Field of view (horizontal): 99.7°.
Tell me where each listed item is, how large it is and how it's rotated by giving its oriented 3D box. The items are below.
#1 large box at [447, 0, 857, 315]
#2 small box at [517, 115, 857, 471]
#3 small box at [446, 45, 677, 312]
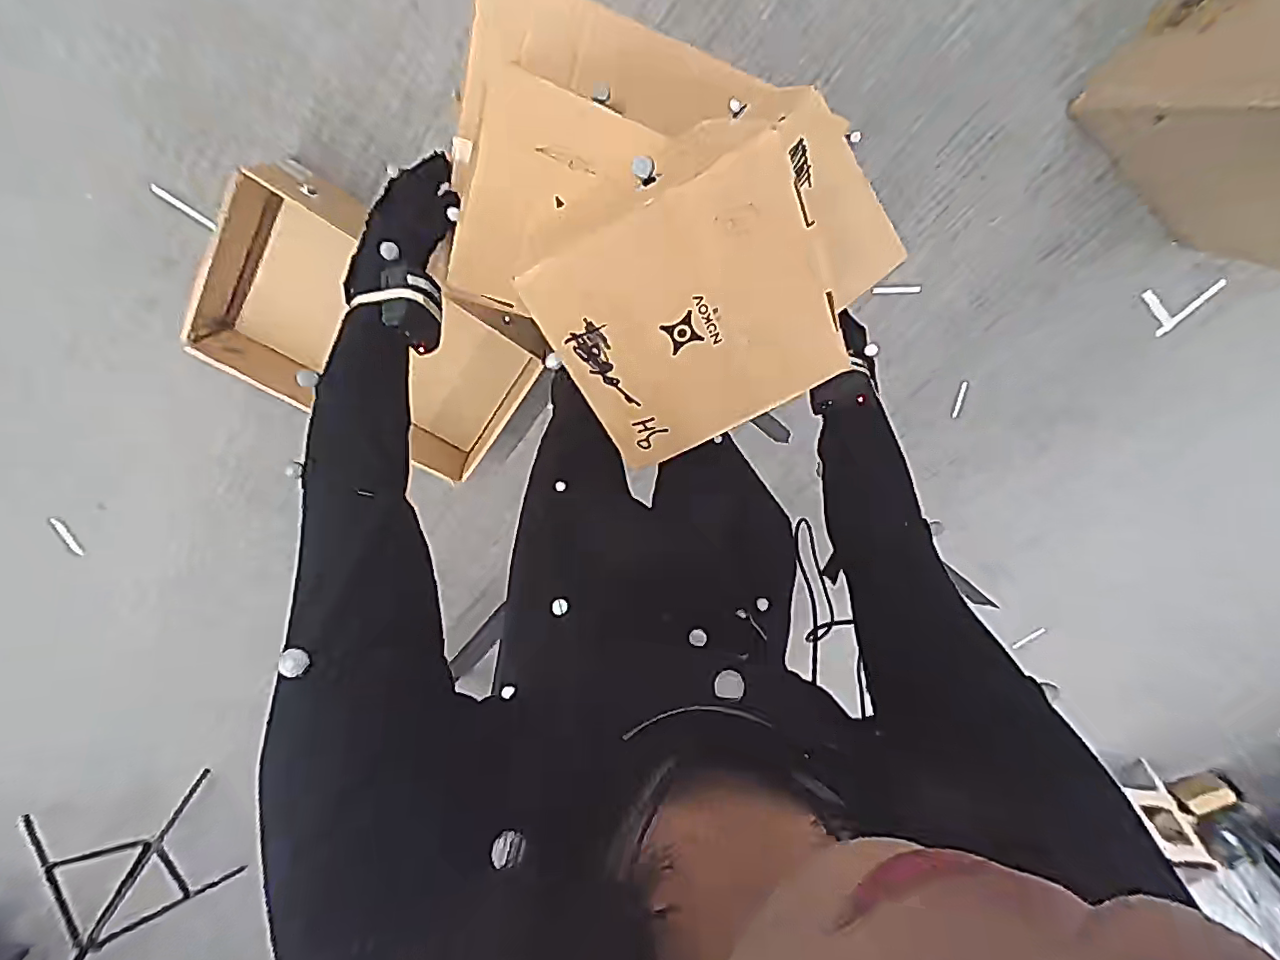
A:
[{"bbox_3d":[-0.018,-0.396,0.724,0.408,0.320,0.320,10,124,-17],"label":"large box"},{"bbox_3d":[0.028,-0.144,0.405,0.179,0.176,0.168,-26,123,10],"label":"small box"},{"bbox_3d":[-0.074,-0.265,0.508,0.168,0.176,0.179,12,122,-19],"label":"small box"}]
